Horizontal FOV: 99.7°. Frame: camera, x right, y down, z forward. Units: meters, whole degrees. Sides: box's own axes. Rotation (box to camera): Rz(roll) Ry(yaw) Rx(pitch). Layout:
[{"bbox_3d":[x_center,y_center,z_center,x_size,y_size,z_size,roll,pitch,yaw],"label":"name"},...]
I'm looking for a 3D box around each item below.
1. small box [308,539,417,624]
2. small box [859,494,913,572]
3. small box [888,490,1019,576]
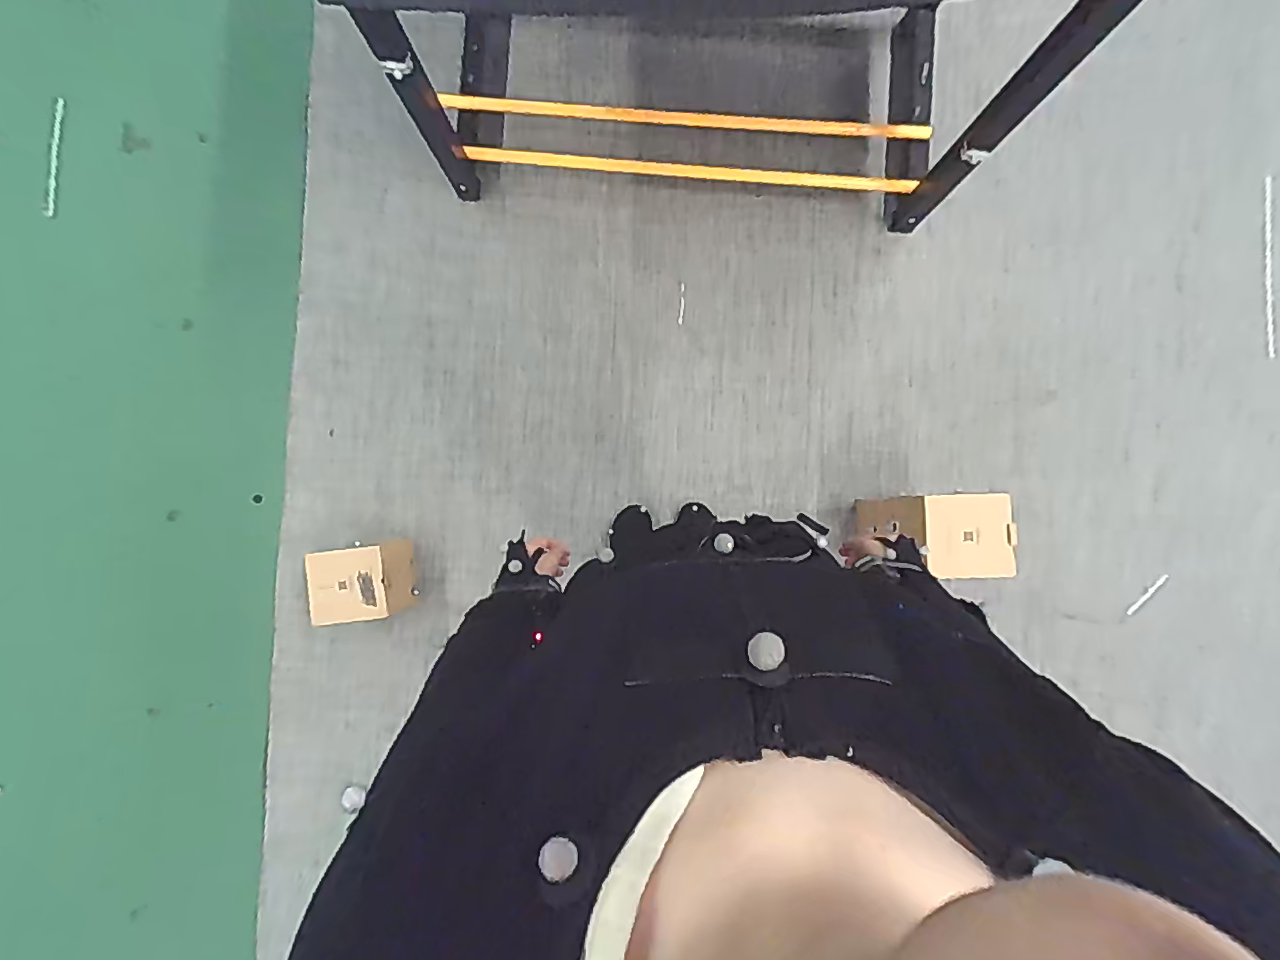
[{"bbox_3d":[-0.649,0.236,1.288,0.179,0.176,0.168,-7,88,1],"label":"small box"},{"bbox_3d":[0.639,0.124,1.292,0.168,0.176,0.179,-2,87,0],"label":"small box"},{"bbox_3d":[0.645,0.106,1.129,0.179,0.176,0.168,-2,87,0],"label":"small box"}]
